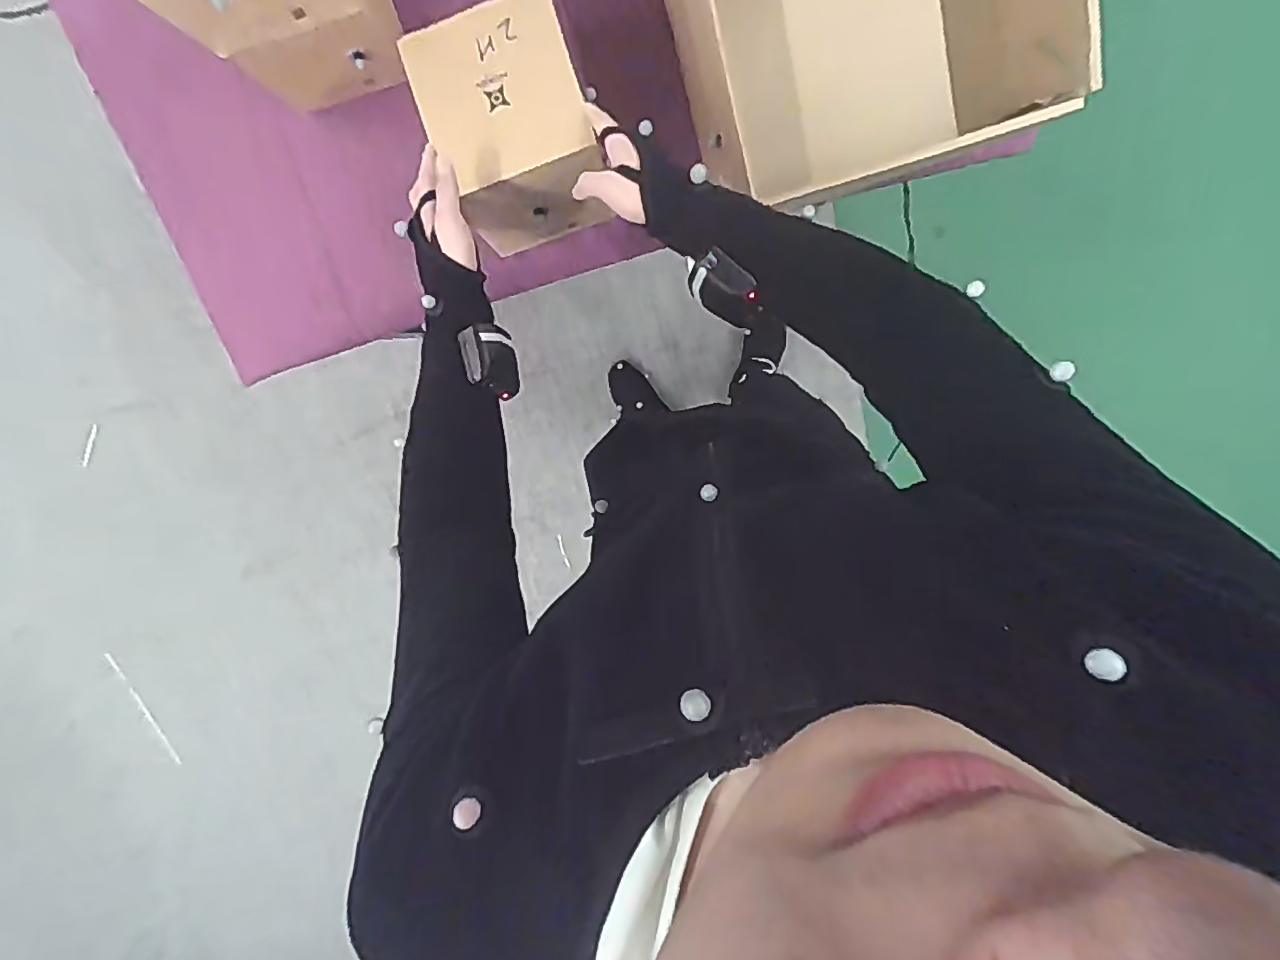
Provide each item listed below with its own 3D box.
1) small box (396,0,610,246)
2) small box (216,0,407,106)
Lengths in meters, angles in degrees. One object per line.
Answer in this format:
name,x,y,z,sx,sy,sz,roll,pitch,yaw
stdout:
small box,-0.142,-0.396,0.628,0.168,0.176,0.179,-18,90,5
small box,-0.398,-0.574,0.633,0.168,0.176,0.179,-16,105,2
